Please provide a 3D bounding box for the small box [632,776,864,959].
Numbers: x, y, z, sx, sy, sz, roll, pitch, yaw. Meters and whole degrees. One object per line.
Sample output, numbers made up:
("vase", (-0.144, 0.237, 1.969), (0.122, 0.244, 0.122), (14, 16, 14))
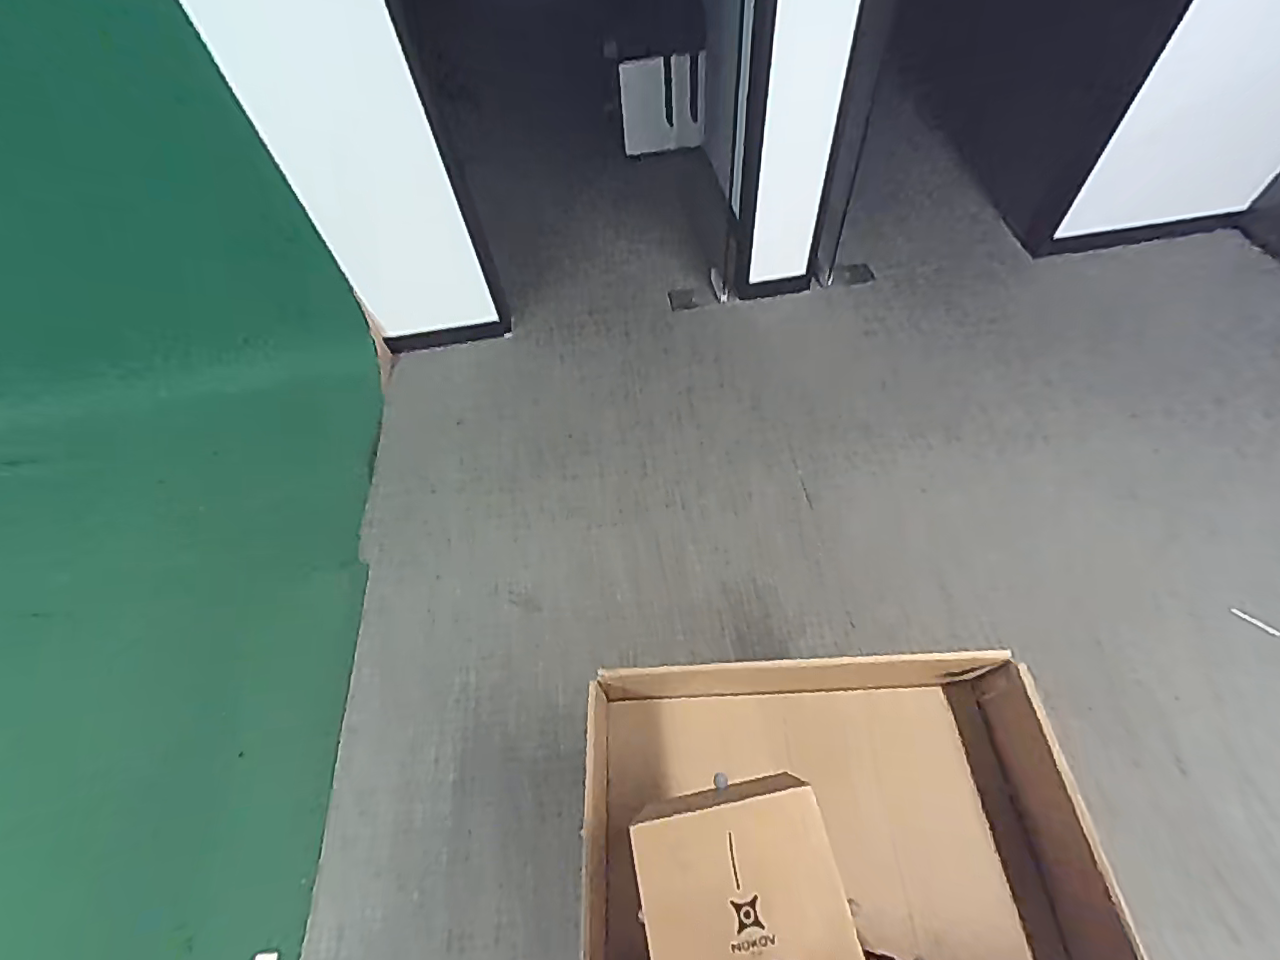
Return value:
("small box", (0.096, 0.391, 0.500), (0.168, 0.176, 0.179), (-13, 64, 0))
